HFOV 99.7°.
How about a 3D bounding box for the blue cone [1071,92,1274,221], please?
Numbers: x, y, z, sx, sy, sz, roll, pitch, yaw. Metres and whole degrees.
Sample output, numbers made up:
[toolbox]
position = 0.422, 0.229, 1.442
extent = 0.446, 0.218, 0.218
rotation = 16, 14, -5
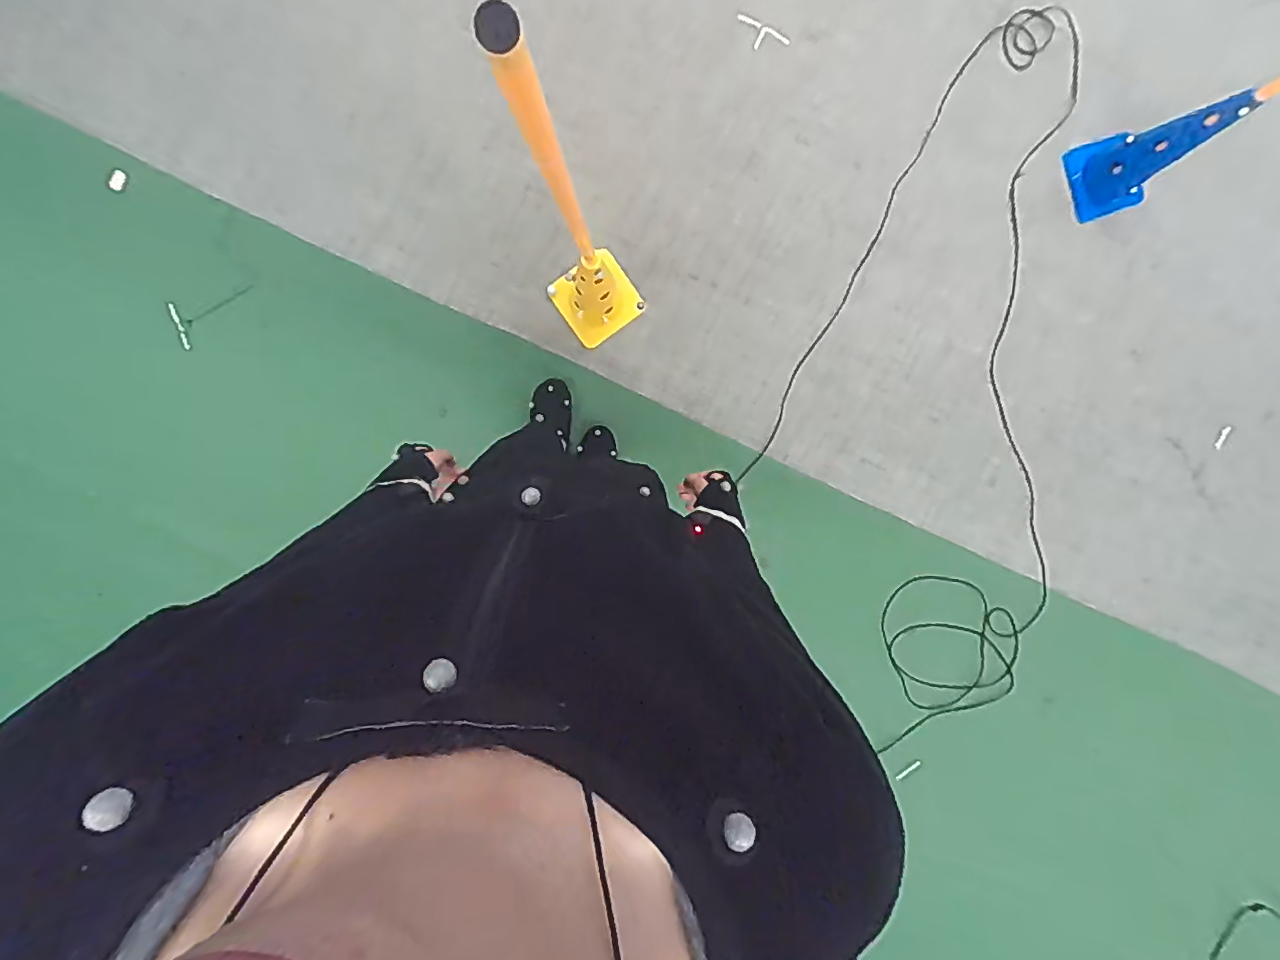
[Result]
[blue cone]
position = 1.291, -0.815, 1.312
extent = 0.193, 0.380, 0.192
rotation = -21, 95, -3
